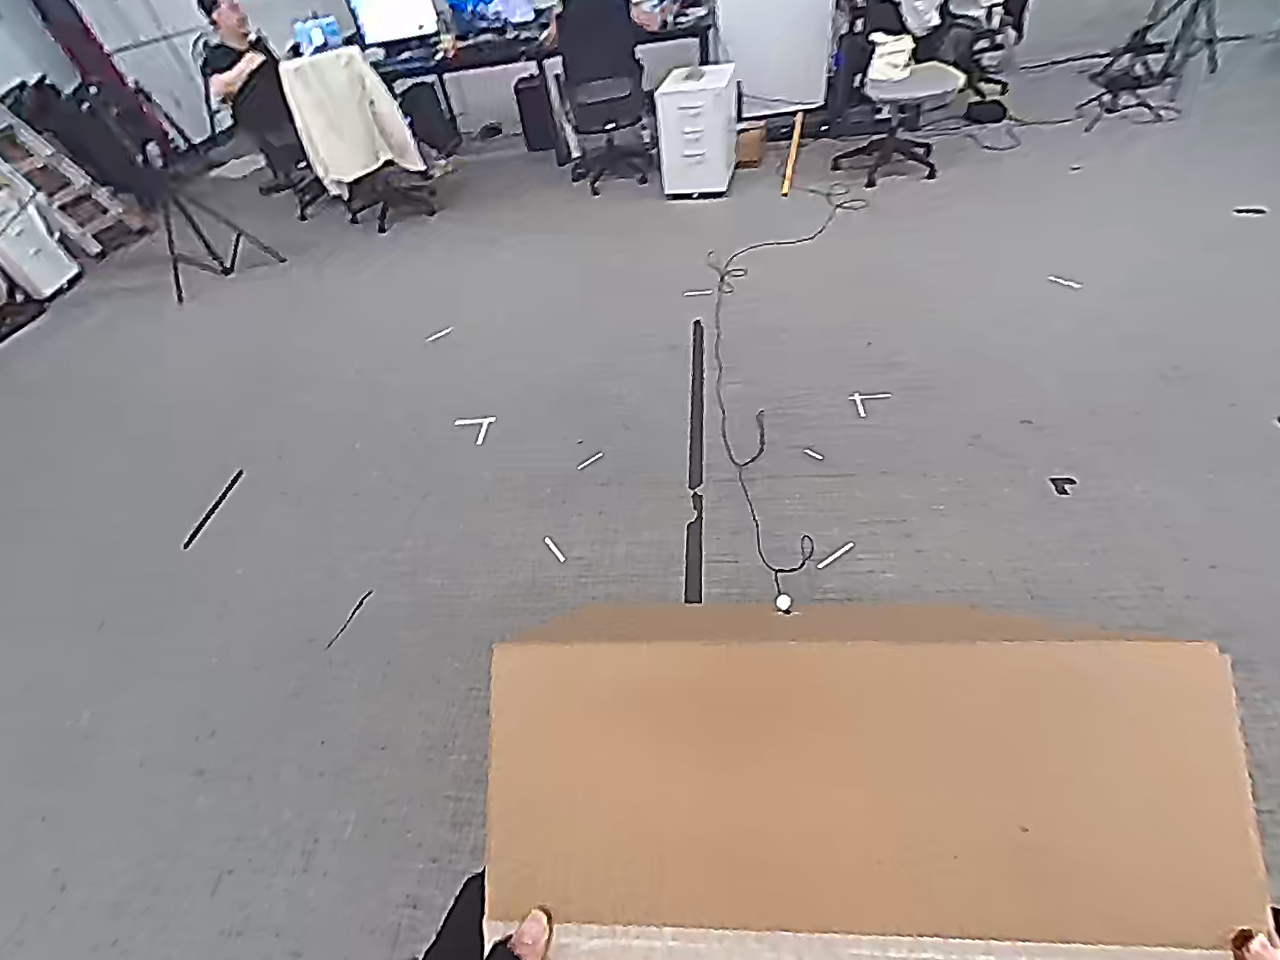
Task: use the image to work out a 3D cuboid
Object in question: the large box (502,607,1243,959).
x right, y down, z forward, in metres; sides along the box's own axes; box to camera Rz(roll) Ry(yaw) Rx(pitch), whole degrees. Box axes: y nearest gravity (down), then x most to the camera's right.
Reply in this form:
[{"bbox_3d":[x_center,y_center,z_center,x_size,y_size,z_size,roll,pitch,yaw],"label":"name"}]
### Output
[{"bbox_3d":[0.131,0.280,0.445,0.408,0.320,0.320,-2,81,5],"label":"large box"}]
